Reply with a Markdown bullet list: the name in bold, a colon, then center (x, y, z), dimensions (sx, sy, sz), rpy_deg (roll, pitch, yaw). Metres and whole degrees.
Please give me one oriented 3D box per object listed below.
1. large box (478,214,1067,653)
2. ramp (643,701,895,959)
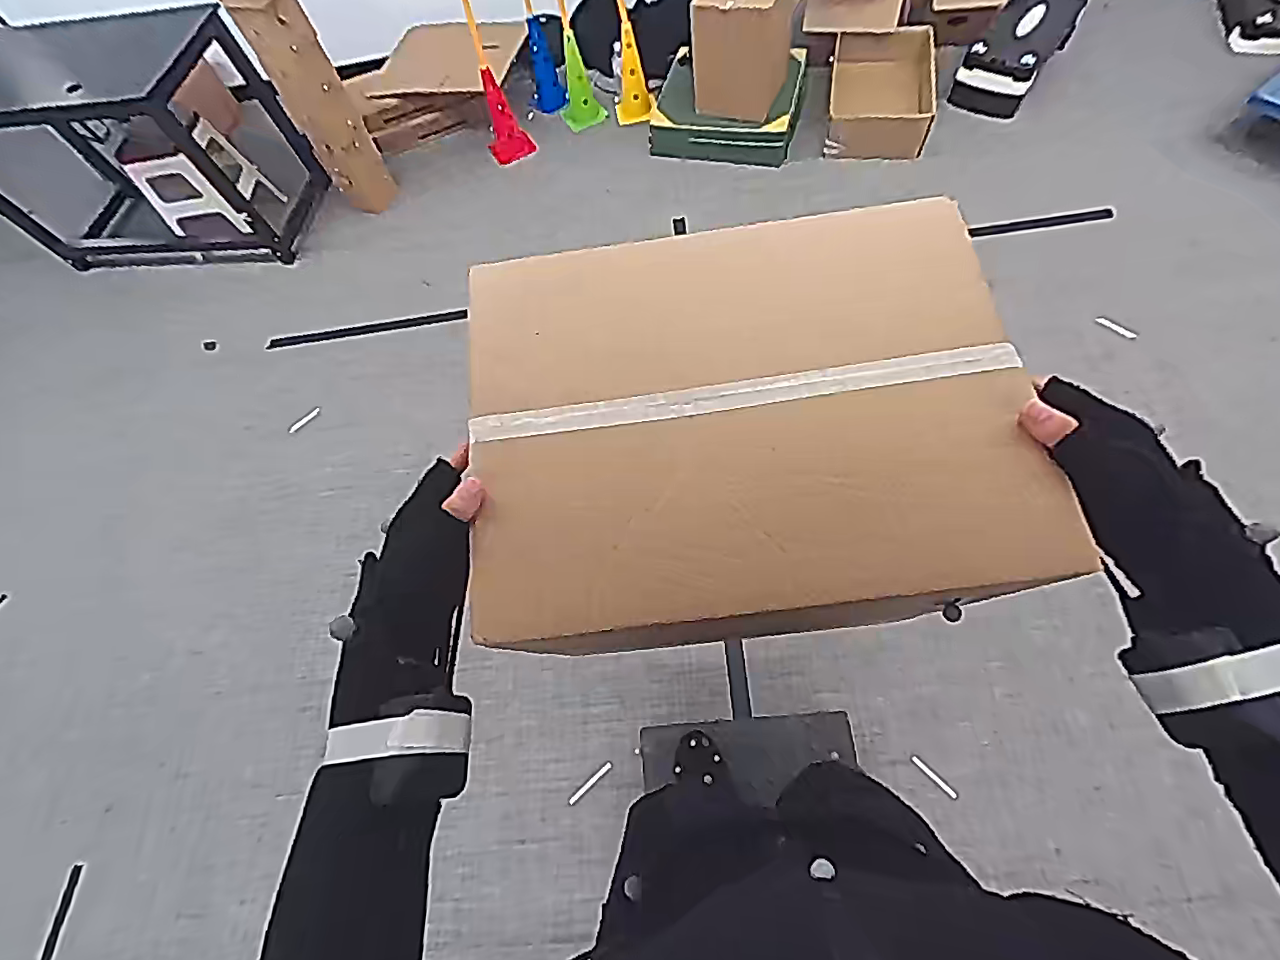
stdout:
- **large box**: center (0.087, -0.007, 0.554), dimensions (0.408, 0.320, 0.320), rpy_deg (-8, 70, 3)
- **ramp**: center (0.295, 1.024, 1.159), dimensions (0.509, 0.206, 0.991), rpy_deg (-8, 64, 3)
